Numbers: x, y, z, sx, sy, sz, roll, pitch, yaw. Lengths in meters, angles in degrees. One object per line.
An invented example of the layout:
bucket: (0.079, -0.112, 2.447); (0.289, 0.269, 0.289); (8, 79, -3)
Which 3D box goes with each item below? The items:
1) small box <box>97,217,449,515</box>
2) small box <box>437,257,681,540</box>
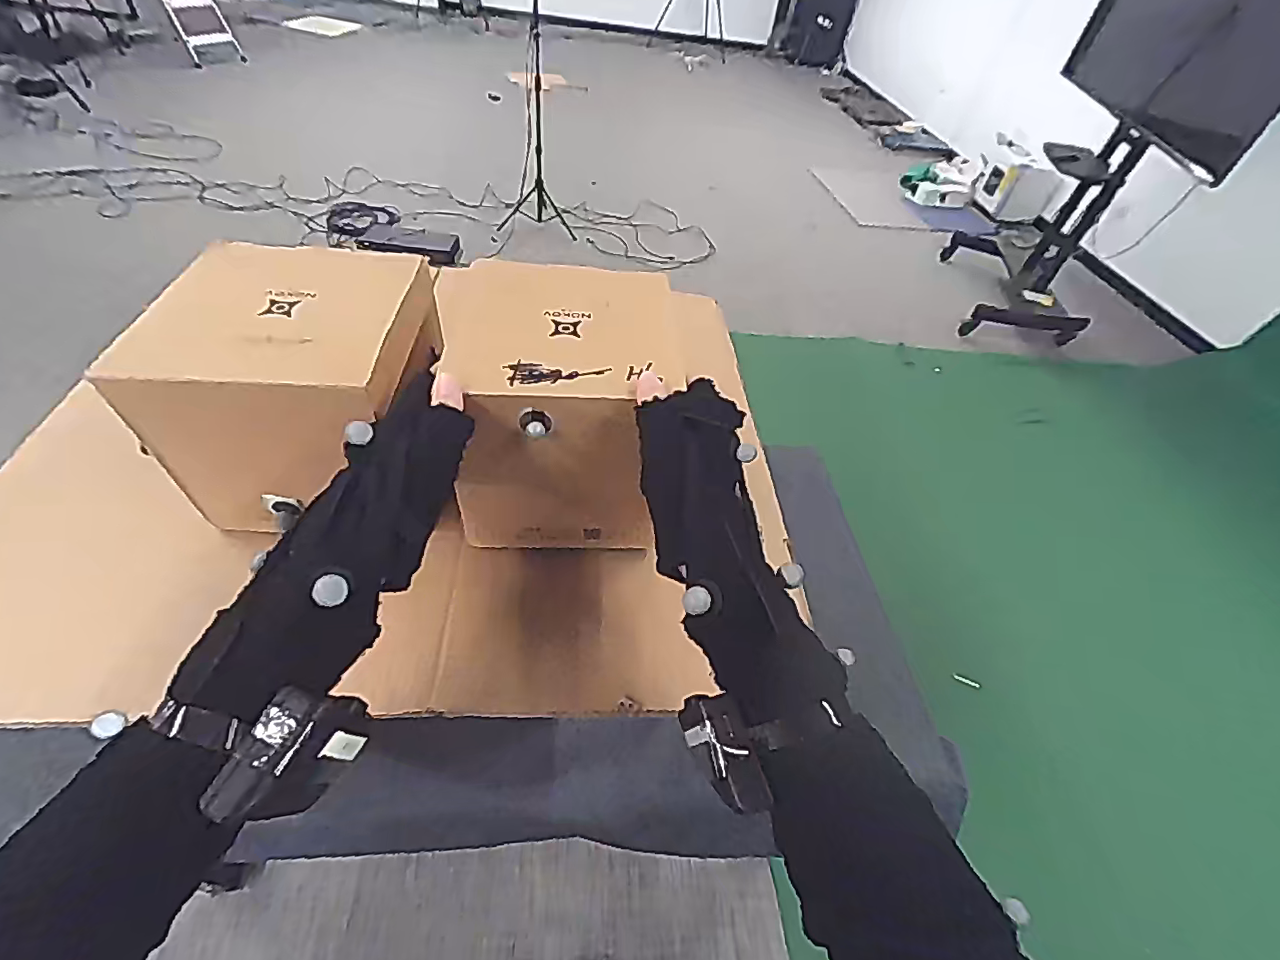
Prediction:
small box: (-0.263, -0.090, 0.450); (0.168, 0.176, 0.179); (1, 50, -6)
small box: (-0.063, -0.069, 0.472); (0.168, 0.176, 0.179); (2, 47, -5)
